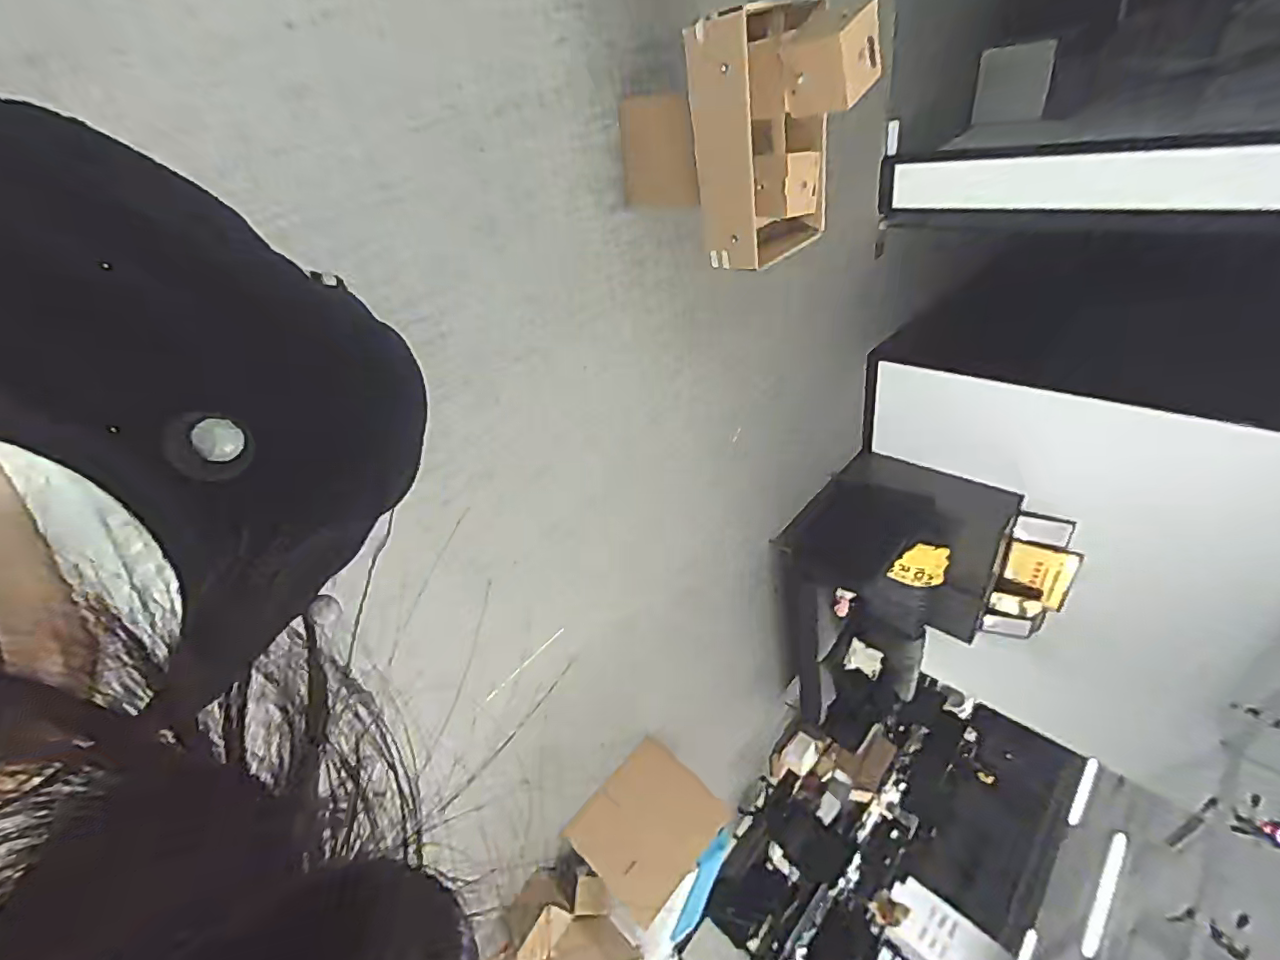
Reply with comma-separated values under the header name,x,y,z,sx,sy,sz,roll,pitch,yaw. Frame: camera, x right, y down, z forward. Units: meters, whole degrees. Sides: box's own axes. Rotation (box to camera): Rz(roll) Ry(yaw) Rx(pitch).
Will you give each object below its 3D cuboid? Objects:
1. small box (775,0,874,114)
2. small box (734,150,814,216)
name,x,y,z,sx,sy,sz,roll,pitch,yaw
small box,0.466,-1.059,1.363,0.179,0.176,0.168,-50,137,-17
small box,0.400,-0.893,1.631,0.179,0.176,0.168,-28,128,-37
